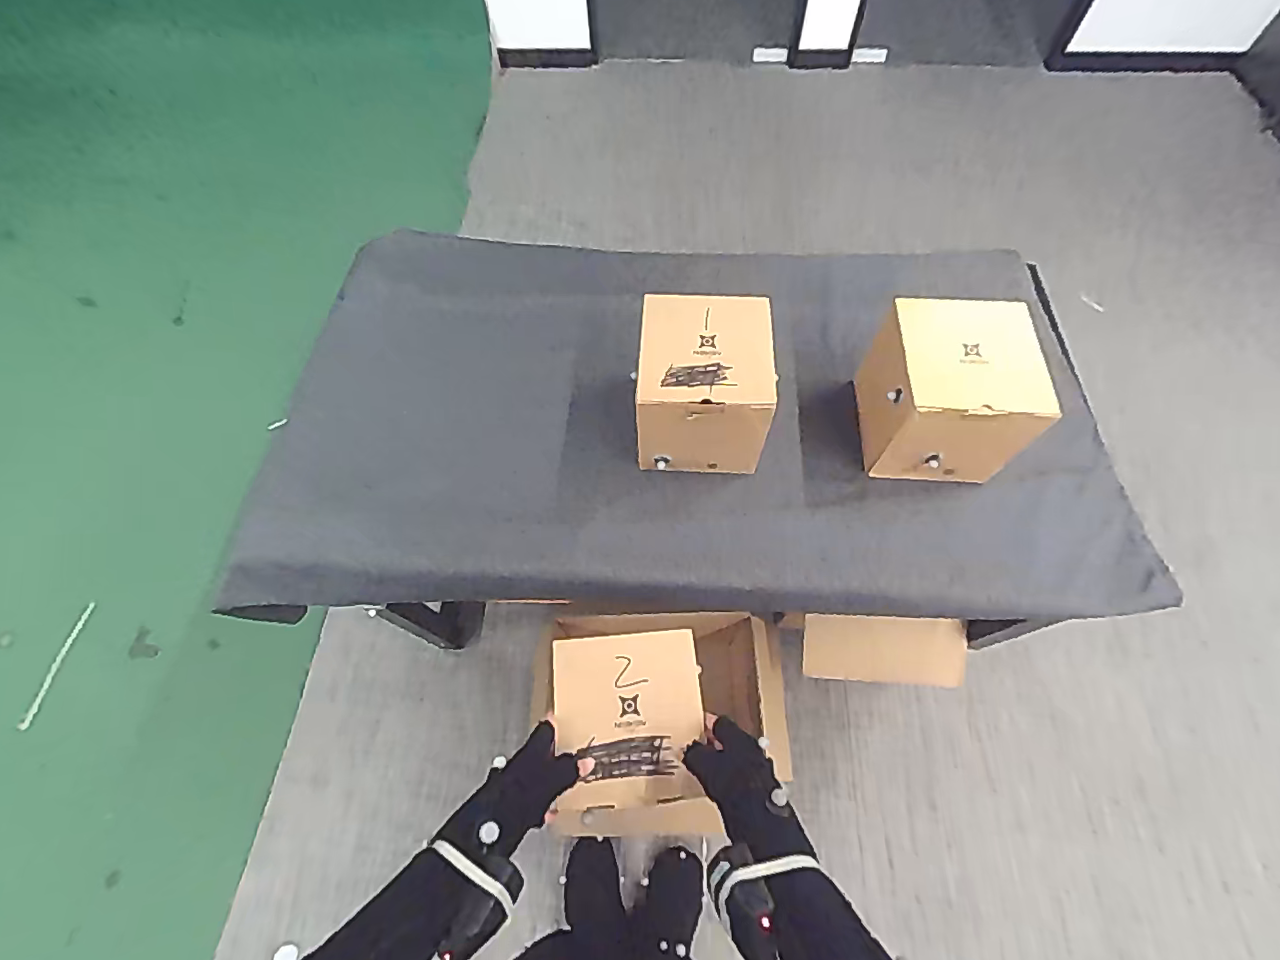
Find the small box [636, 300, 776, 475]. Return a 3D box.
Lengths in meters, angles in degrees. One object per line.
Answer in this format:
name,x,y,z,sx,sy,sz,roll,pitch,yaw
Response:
small box,0.085,-0.120,0.737,0.168,0.176,0.179,3,61,3

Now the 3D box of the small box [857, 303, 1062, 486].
small box,0.405,-0.110,0.725,0.168,0.176,0.179,3,63,3
